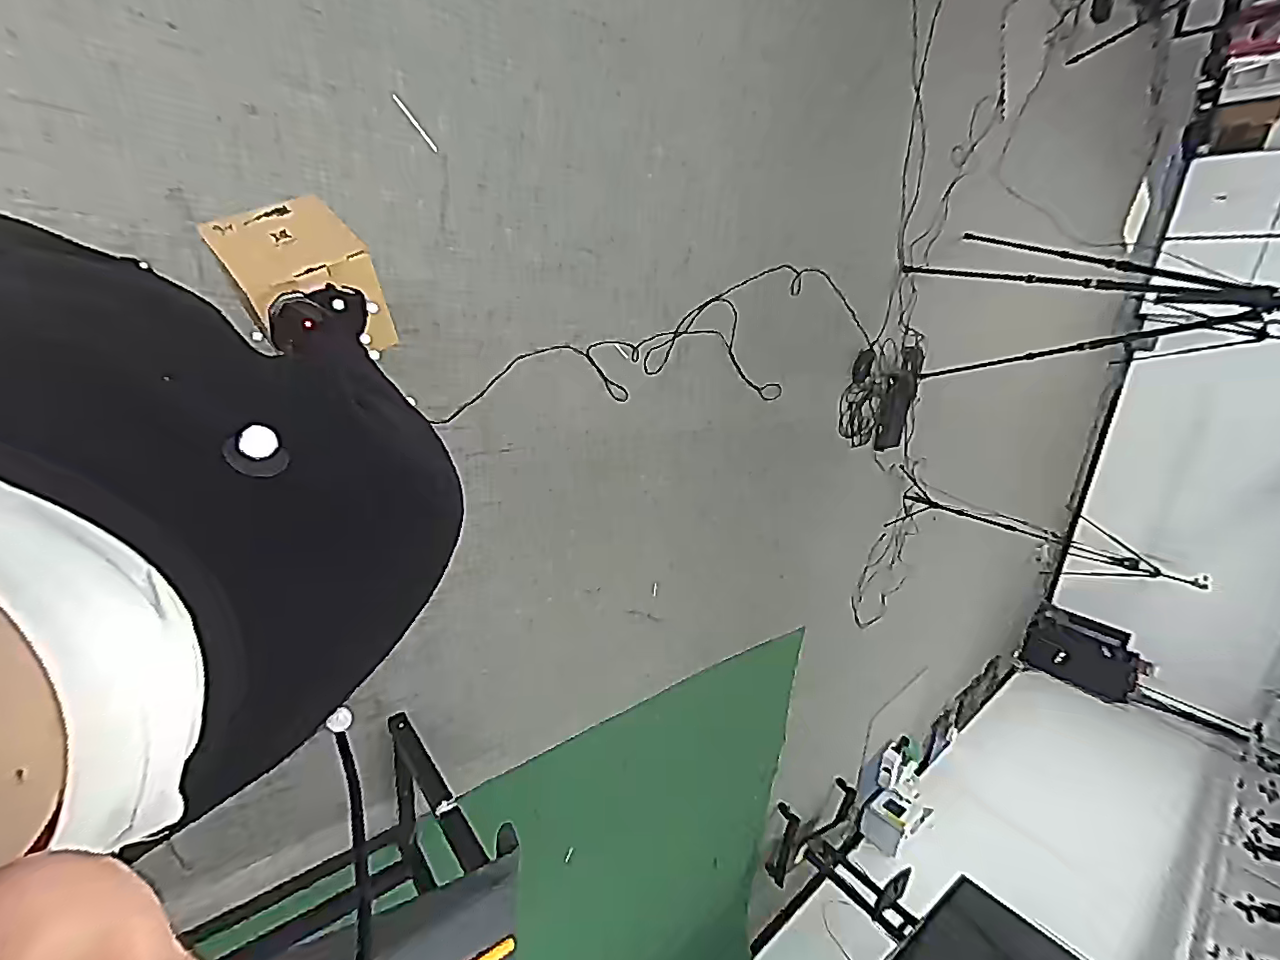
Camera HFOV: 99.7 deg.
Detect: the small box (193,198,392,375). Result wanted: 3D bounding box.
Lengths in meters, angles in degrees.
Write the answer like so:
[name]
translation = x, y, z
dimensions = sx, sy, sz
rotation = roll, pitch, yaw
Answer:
[small box]
translation = -0.511, -0.284, 0.821
dimensions = 0.168, 0.179, 0.176
rotation = -38, 158, -25
